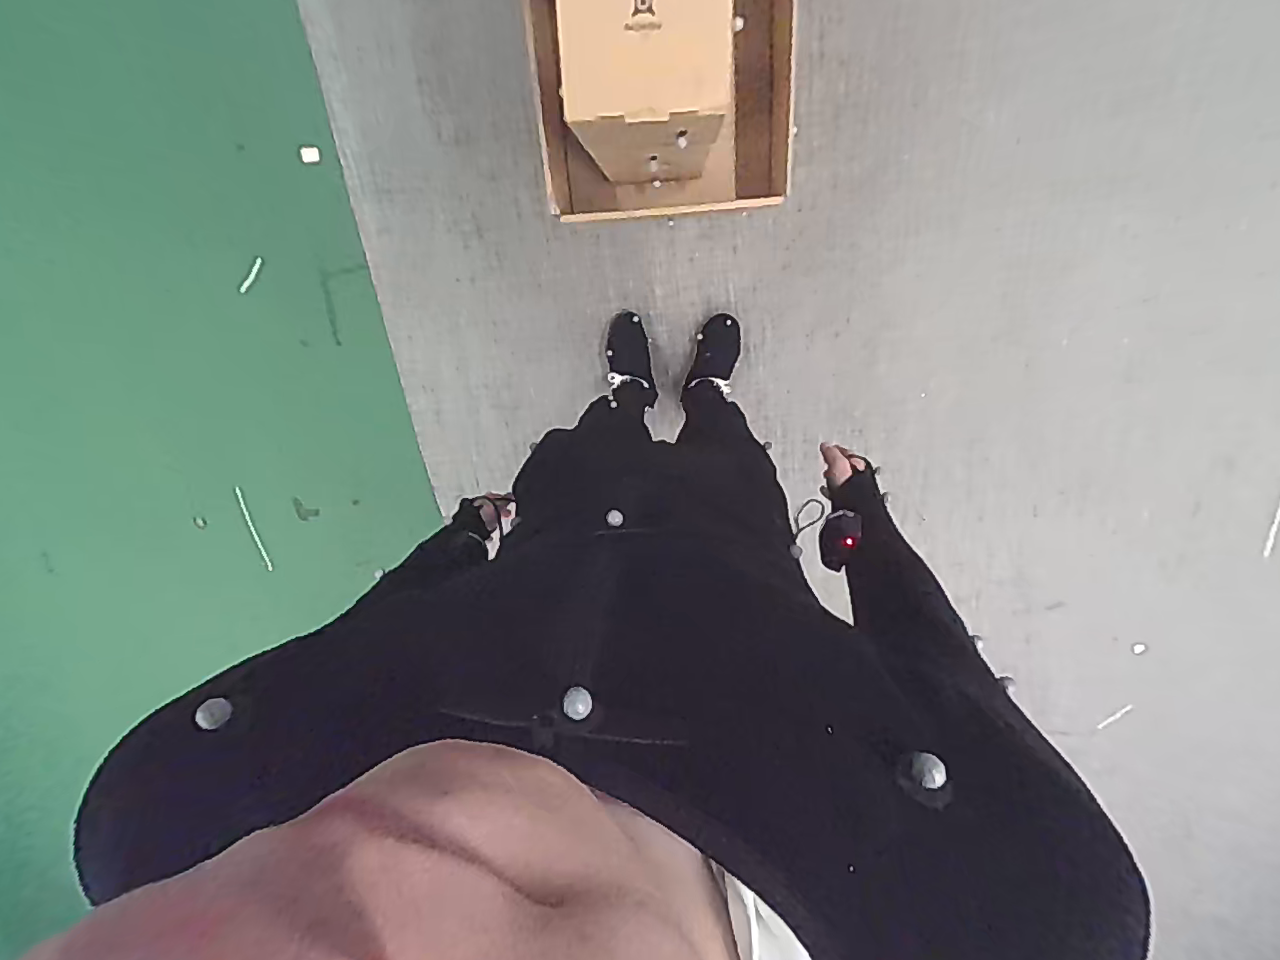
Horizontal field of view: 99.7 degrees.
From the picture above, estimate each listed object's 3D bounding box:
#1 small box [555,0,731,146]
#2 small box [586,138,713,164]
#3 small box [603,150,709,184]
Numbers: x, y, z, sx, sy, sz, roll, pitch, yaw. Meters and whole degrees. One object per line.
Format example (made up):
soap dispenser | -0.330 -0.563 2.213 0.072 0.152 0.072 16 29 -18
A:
small box | 0.008 -0.466 0.572 0.168 0.176 0.179 -1 112 4
small box | 0.014 -0.532 0.722 0.168 0.176 0.179 -2 112 4
small box | 0.025 -0.594 0.873 0.168 0.176 0.179 -2 111 5
